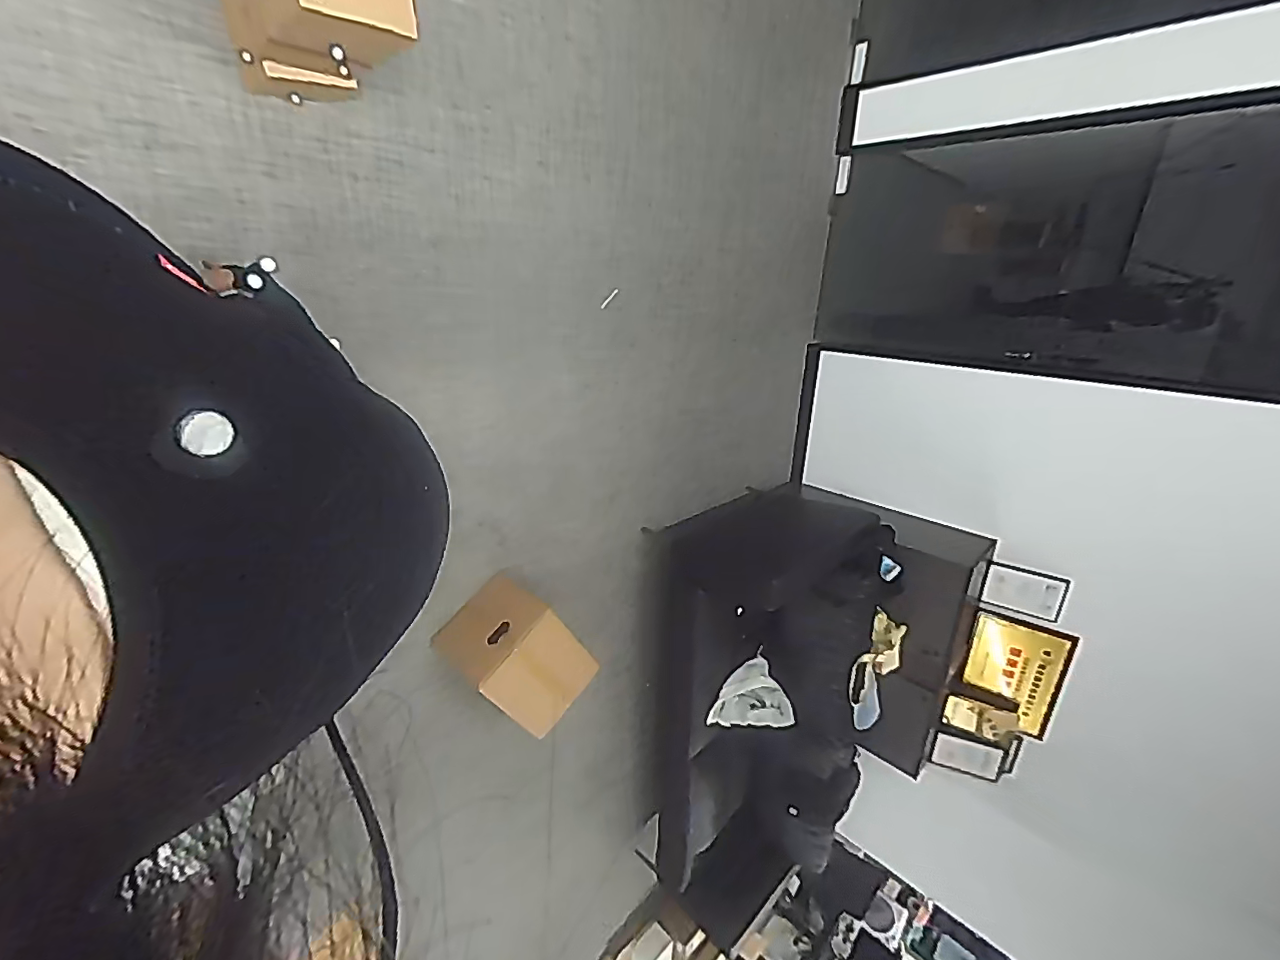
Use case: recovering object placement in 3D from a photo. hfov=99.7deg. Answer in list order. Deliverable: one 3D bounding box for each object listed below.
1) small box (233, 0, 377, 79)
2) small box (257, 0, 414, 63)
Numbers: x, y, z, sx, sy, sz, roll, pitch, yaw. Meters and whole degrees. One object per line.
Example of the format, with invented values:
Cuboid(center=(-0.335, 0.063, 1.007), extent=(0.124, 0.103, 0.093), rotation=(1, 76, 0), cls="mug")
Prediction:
Cuboid(center=(-0.597, -0.837, 0.955), extent=(0.179, 0.176, 0.168), rotation=(-19, 118, -41), cls="small box")
Cuboid(center=(-0.484, -0.785, 0.848), extent=(0.179, 0.176, 0.168), rotation=(-20, 119, -42), cls="small box")
